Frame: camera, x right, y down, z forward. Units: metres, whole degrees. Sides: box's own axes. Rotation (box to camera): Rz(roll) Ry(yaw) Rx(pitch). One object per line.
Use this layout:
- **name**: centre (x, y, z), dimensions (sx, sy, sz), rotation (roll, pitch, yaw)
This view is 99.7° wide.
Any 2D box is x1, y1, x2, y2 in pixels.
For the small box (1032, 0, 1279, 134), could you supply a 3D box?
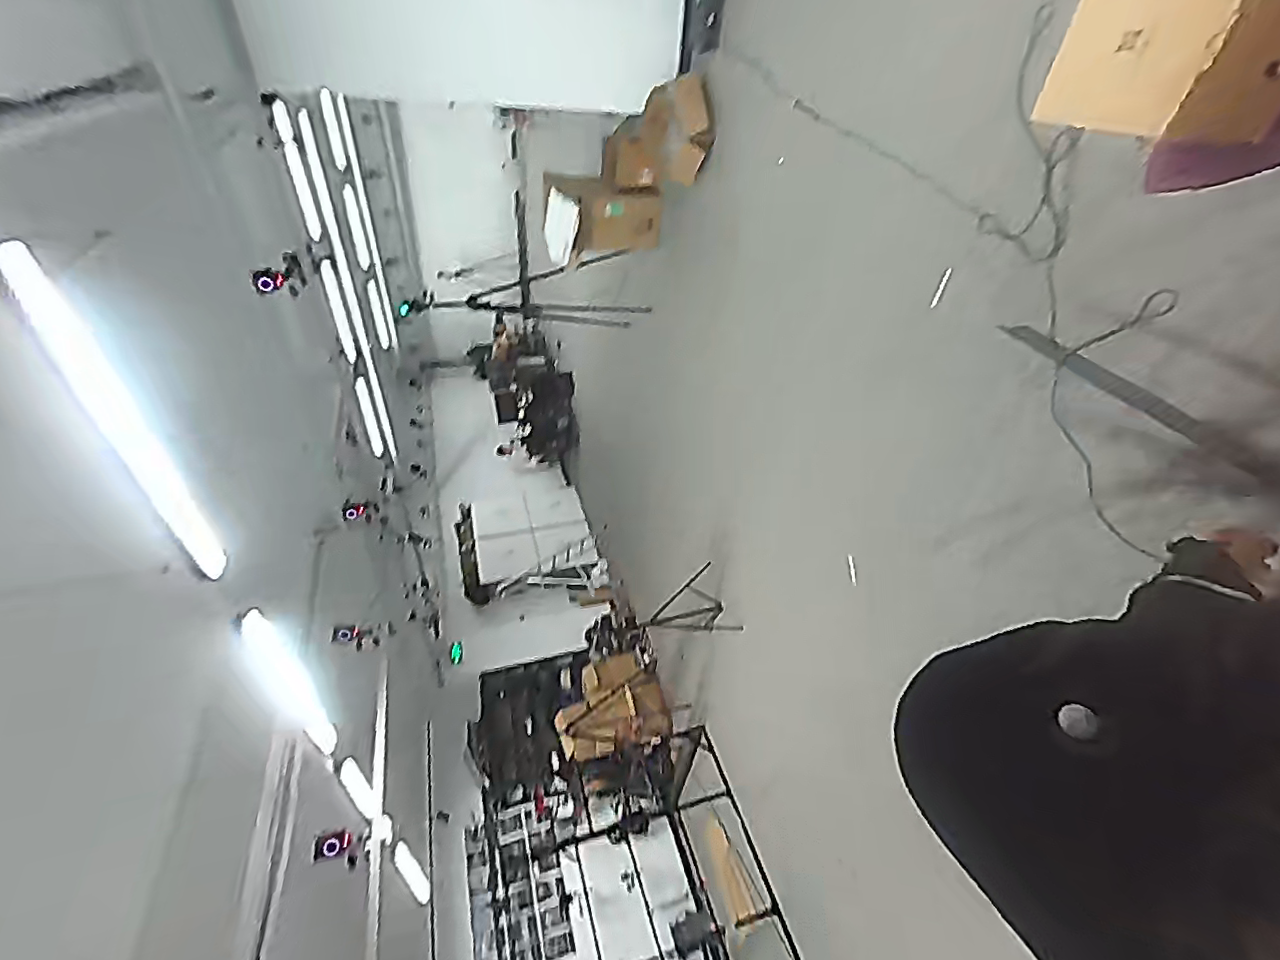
- **small box**: centre (0.619, -0.505, 0.617), dimensions (0.179, 0.176, 0.168), rotation (-118, 25, -46)
